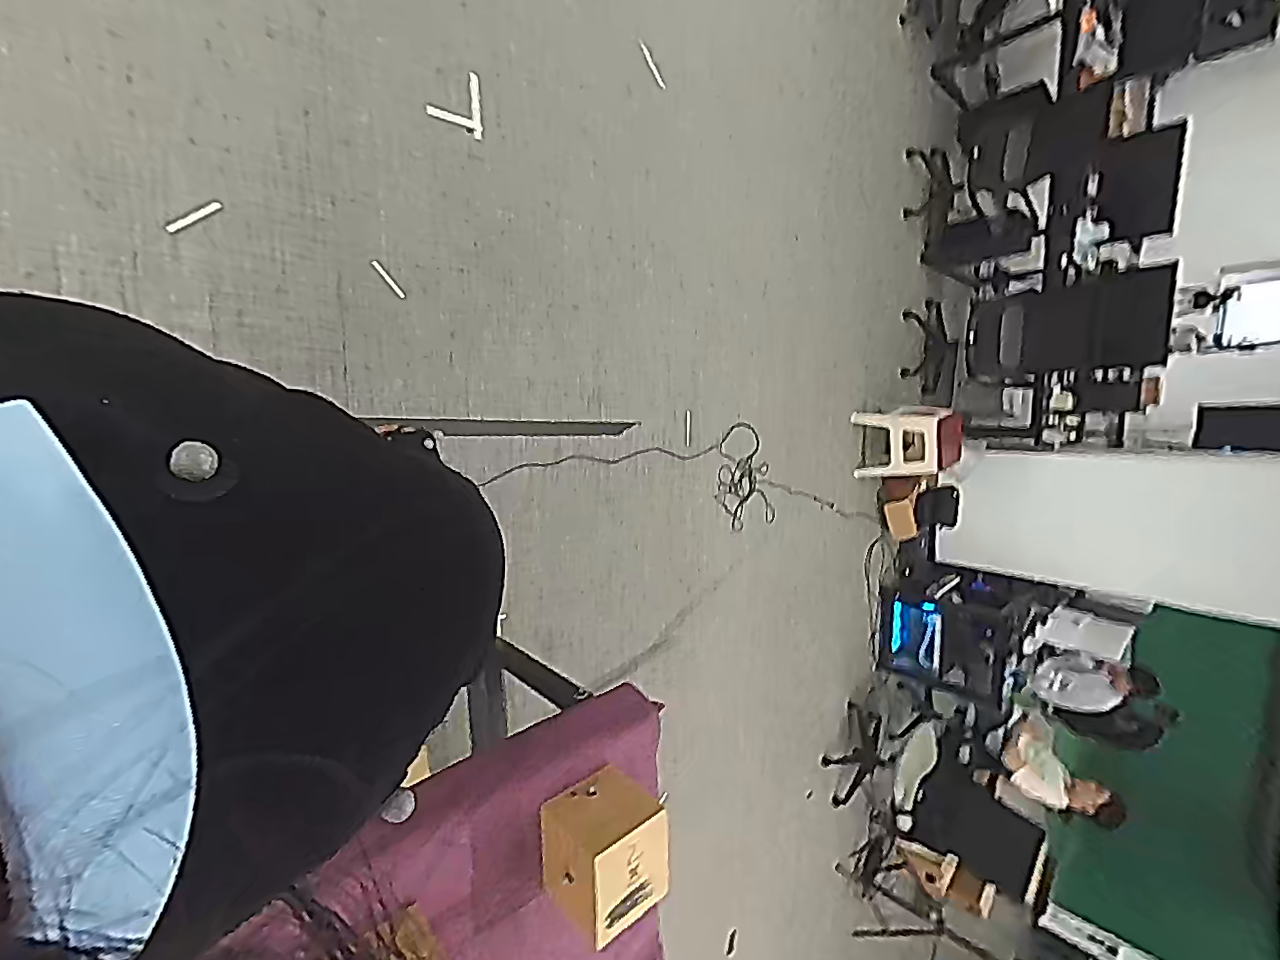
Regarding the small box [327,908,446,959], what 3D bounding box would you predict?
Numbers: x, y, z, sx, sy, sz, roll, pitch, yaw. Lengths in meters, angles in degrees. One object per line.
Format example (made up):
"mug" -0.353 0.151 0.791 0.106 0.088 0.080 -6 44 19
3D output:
"small box" -0.356 0.751 0.732 0.179 0.176 0.168 -9 103 -42
